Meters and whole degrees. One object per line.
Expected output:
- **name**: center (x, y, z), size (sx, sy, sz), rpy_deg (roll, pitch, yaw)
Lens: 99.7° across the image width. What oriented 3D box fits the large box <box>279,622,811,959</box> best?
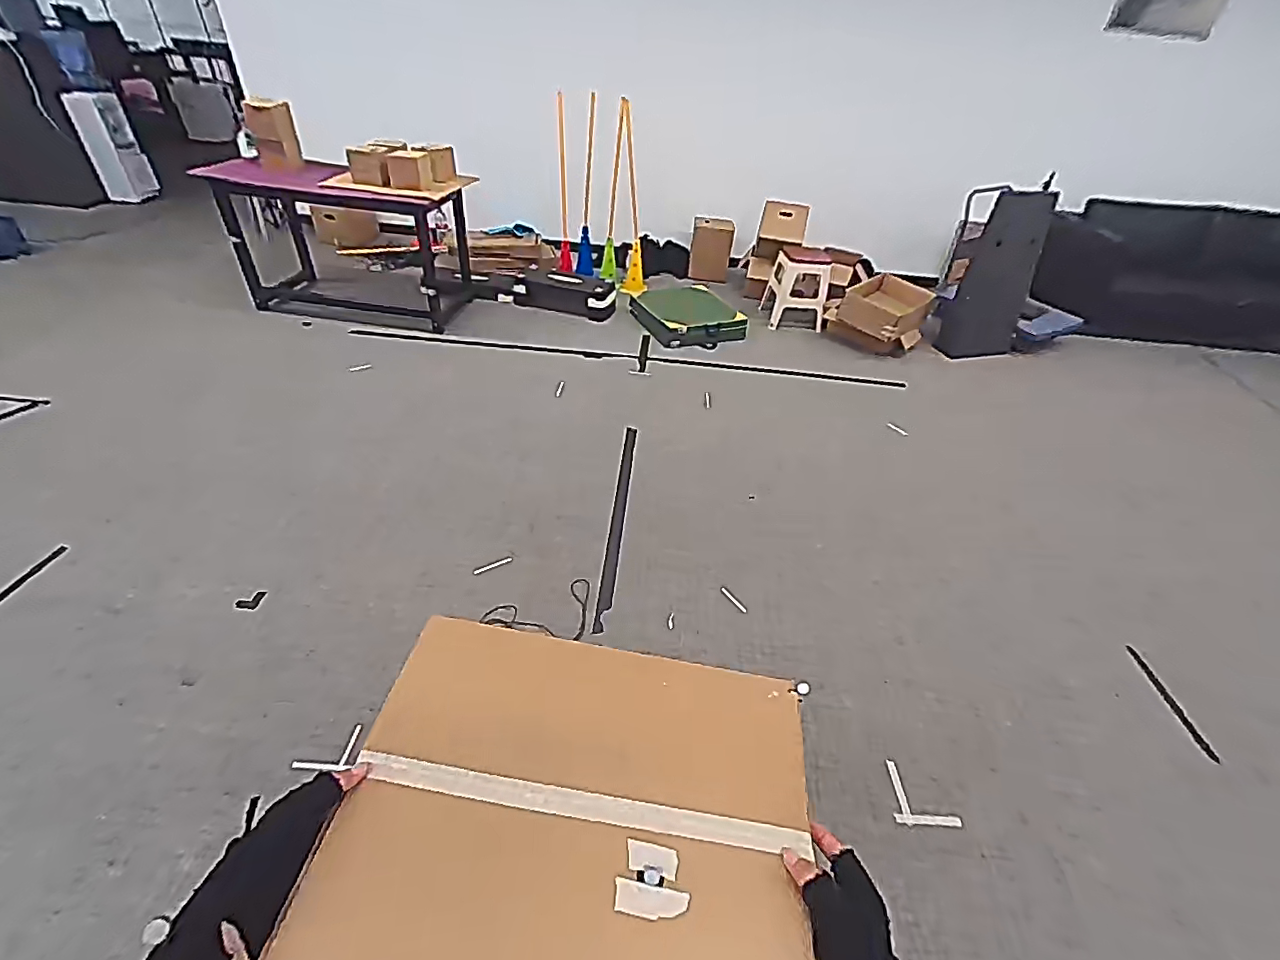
- **large box**: center (-0.069, 0.400, 0.588), size (0.408, 0.320, 0.320), rpy_deg (11, 42, 1)
